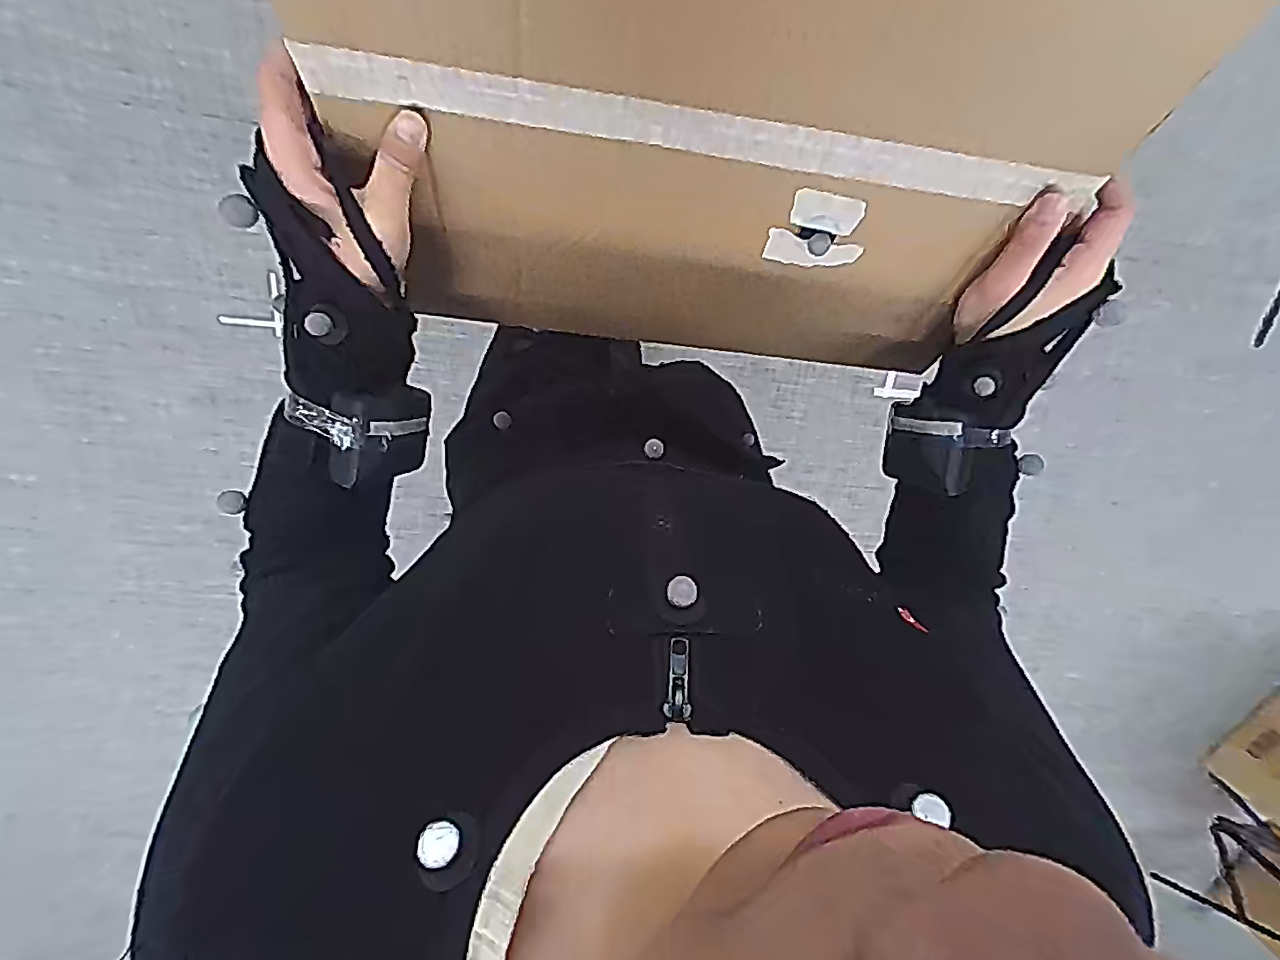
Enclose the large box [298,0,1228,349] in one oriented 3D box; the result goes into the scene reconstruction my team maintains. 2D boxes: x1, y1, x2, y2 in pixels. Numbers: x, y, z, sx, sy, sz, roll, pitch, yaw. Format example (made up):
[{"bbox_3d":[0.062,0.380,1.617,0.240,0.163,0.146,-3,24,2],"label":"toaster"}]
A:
[{"bbox_3d":[0.043,-0.316,0.345,0.408,0.320,0.320,3,154,-7],"label":"large box"}]
